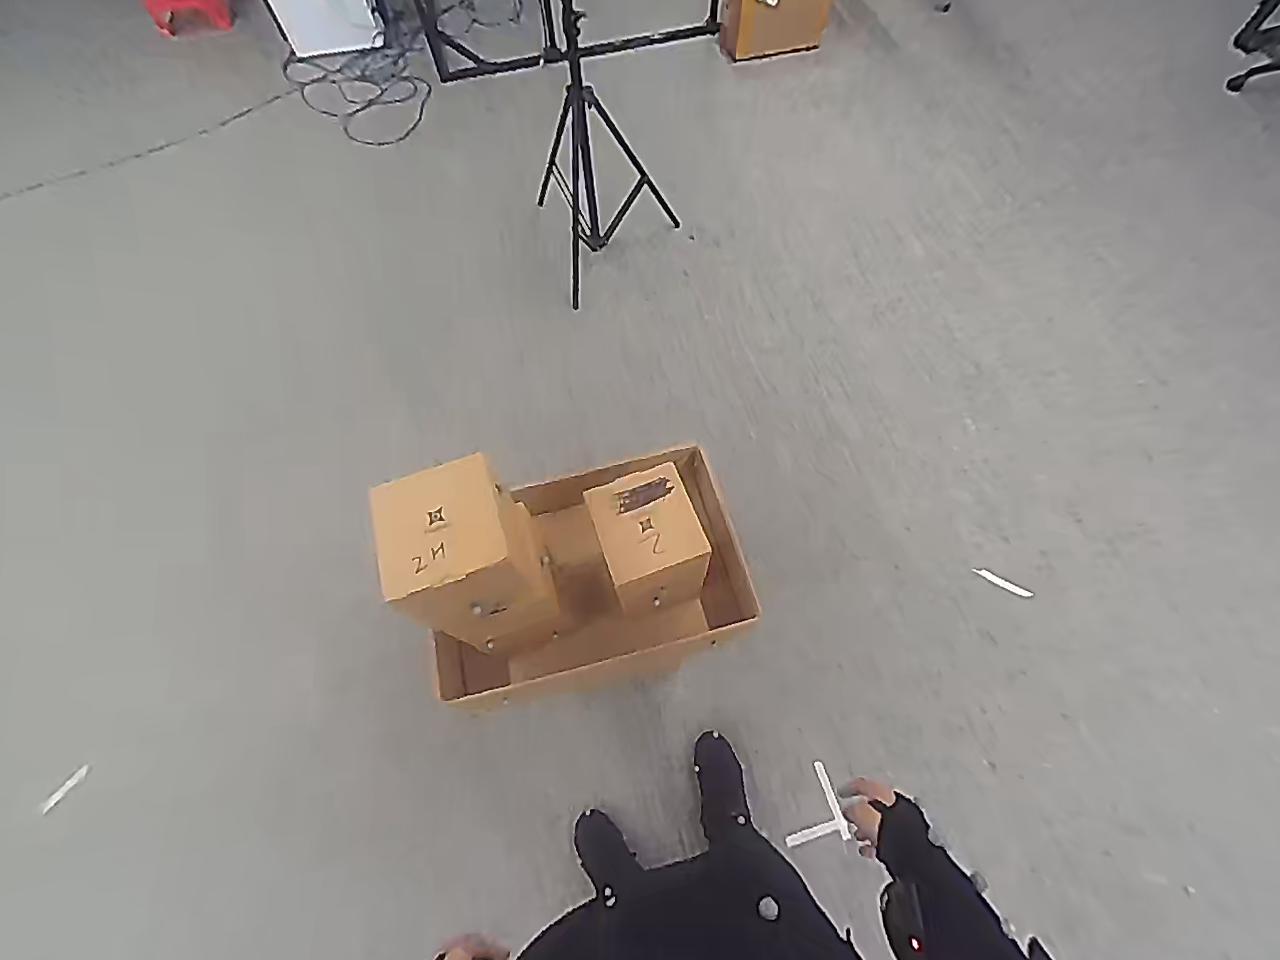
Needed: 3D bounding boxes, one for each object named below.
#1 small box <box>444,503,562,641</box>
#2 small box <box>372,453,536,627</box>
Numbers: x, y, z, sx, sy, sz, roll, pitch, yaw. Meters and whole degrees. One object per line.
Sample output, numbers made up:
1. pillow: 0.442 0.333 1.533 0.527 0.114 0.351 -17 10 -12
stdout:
1. small box: -0.244 0.169 0.940 0.168 0.176 0.179 -17 63 -5
2. small box: -0.266 0.093 0.794 0.168 0.176 0.179 -19 64 -6
